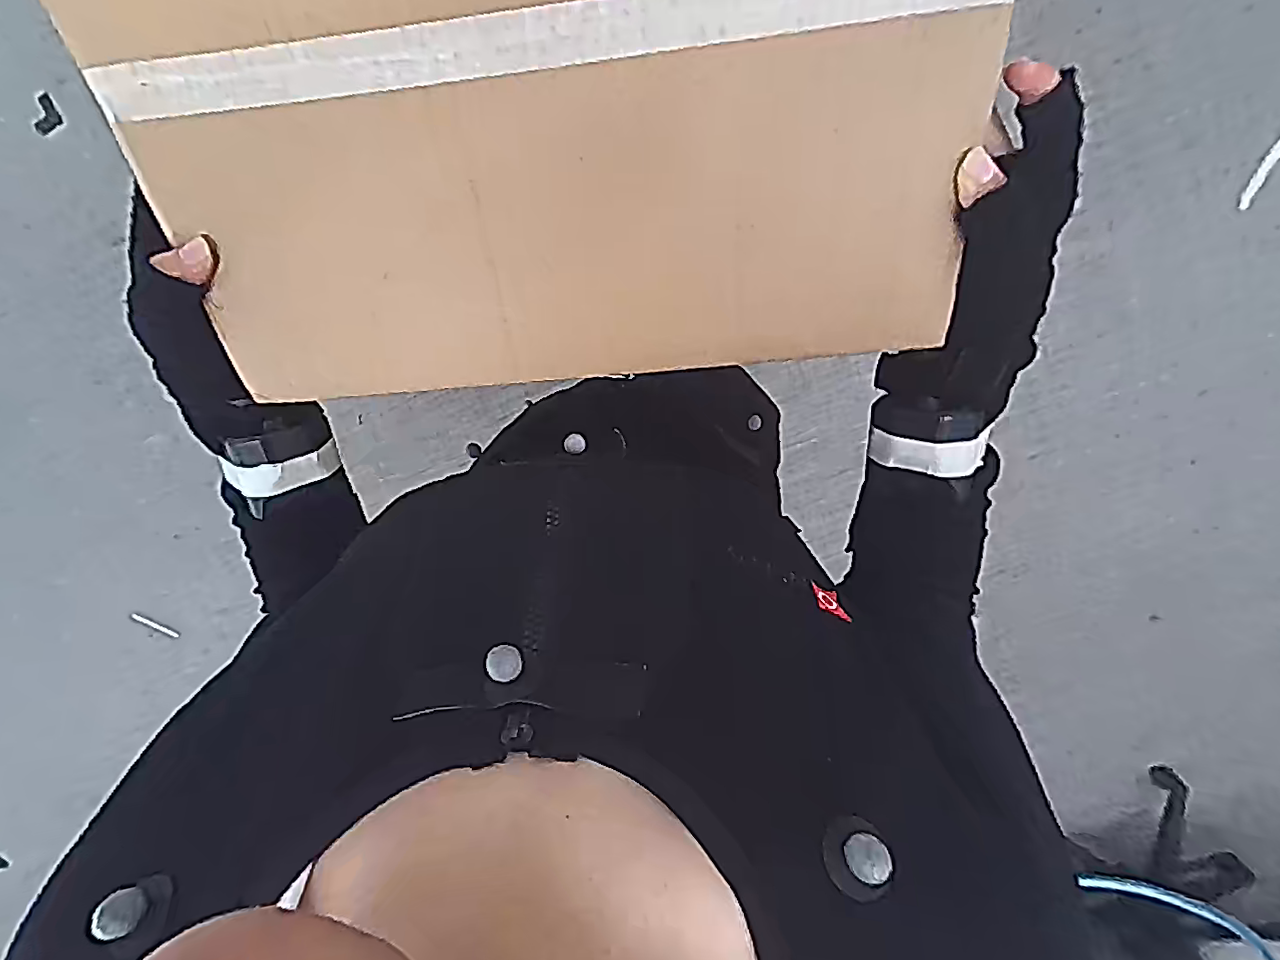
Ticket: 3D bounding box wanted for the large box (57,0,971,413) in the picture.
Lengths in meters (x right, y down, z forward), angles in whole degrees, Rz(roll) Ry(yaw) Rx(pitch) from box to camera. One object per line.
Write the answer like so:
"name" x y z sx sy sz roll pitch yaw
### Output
"large box" -0.048 -0.269 0.373 0.408 0.320 0.320 -5 121 5
